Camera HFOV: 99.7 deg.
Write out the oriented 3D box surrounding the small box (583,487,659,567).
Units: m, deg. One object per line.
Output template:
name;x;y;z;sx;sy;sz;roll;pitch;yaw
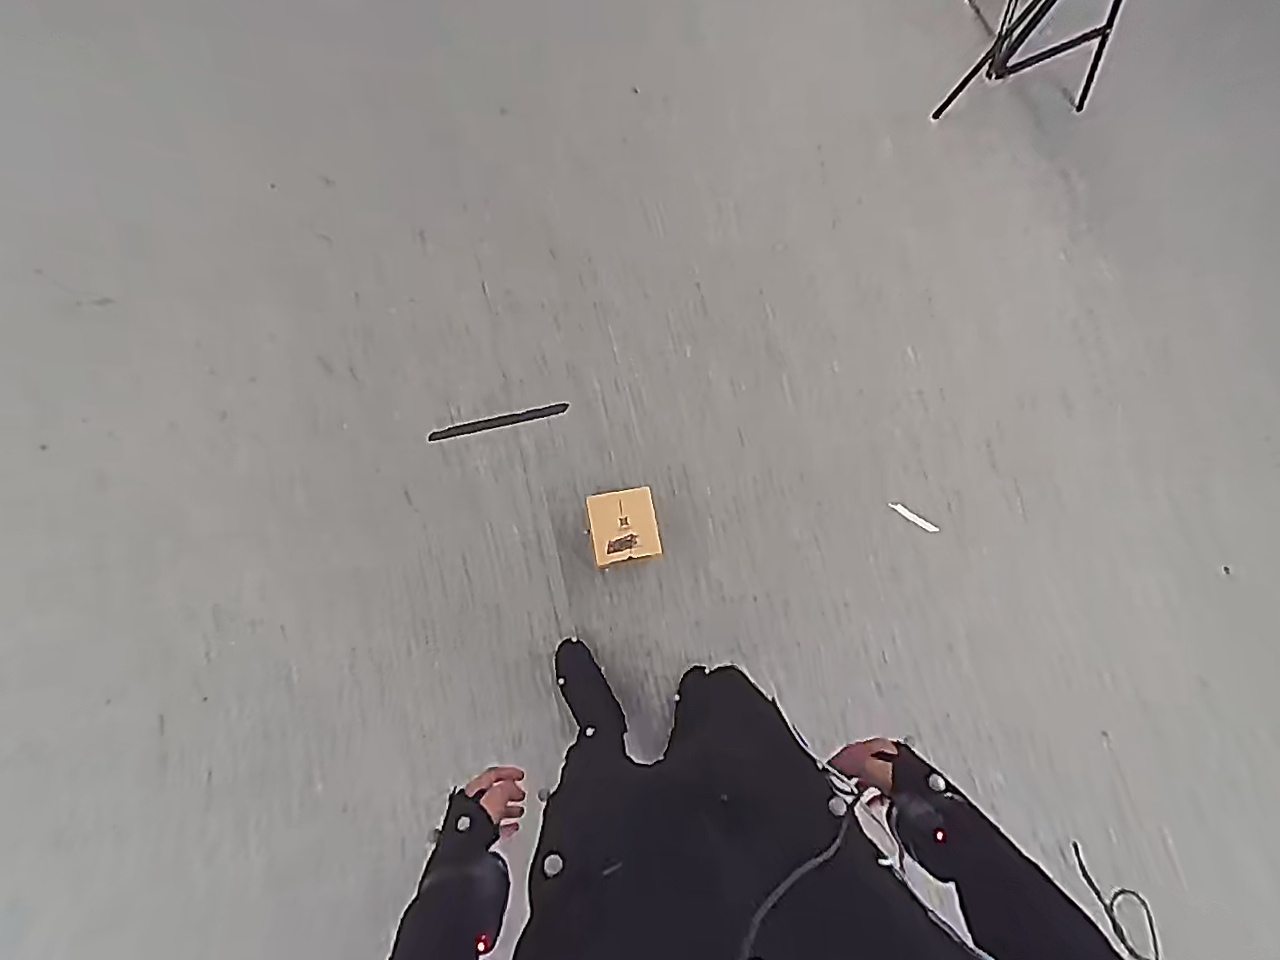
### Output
small box;-0.054;0.128;1.410;0.168;0.176;0.179;-9;78;-9
